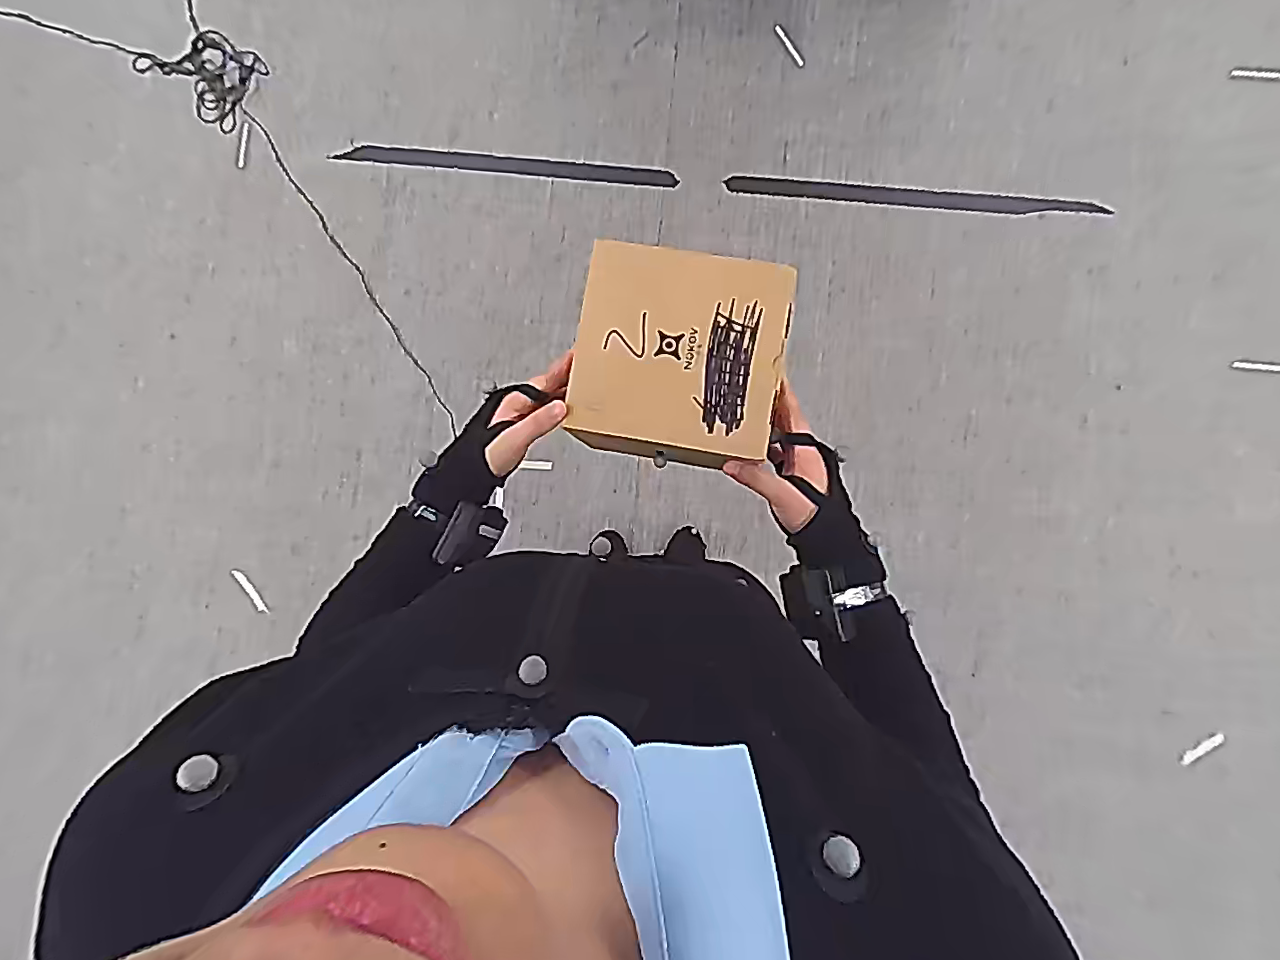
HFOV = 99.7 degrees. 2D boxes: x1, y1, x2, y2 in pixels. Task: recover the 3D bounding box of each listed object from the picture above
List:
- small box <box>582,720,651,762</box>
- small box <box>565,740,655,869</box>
[{"bbox_3d":[-0.060,0.736,1.386,0.168,0.176,0.179,4,88,3],"label":"small box"},{"bbox_3d":[-0.060,0.723,1.223,0.168,0.176,0.179,10,87,3],"label":"small box"}]
